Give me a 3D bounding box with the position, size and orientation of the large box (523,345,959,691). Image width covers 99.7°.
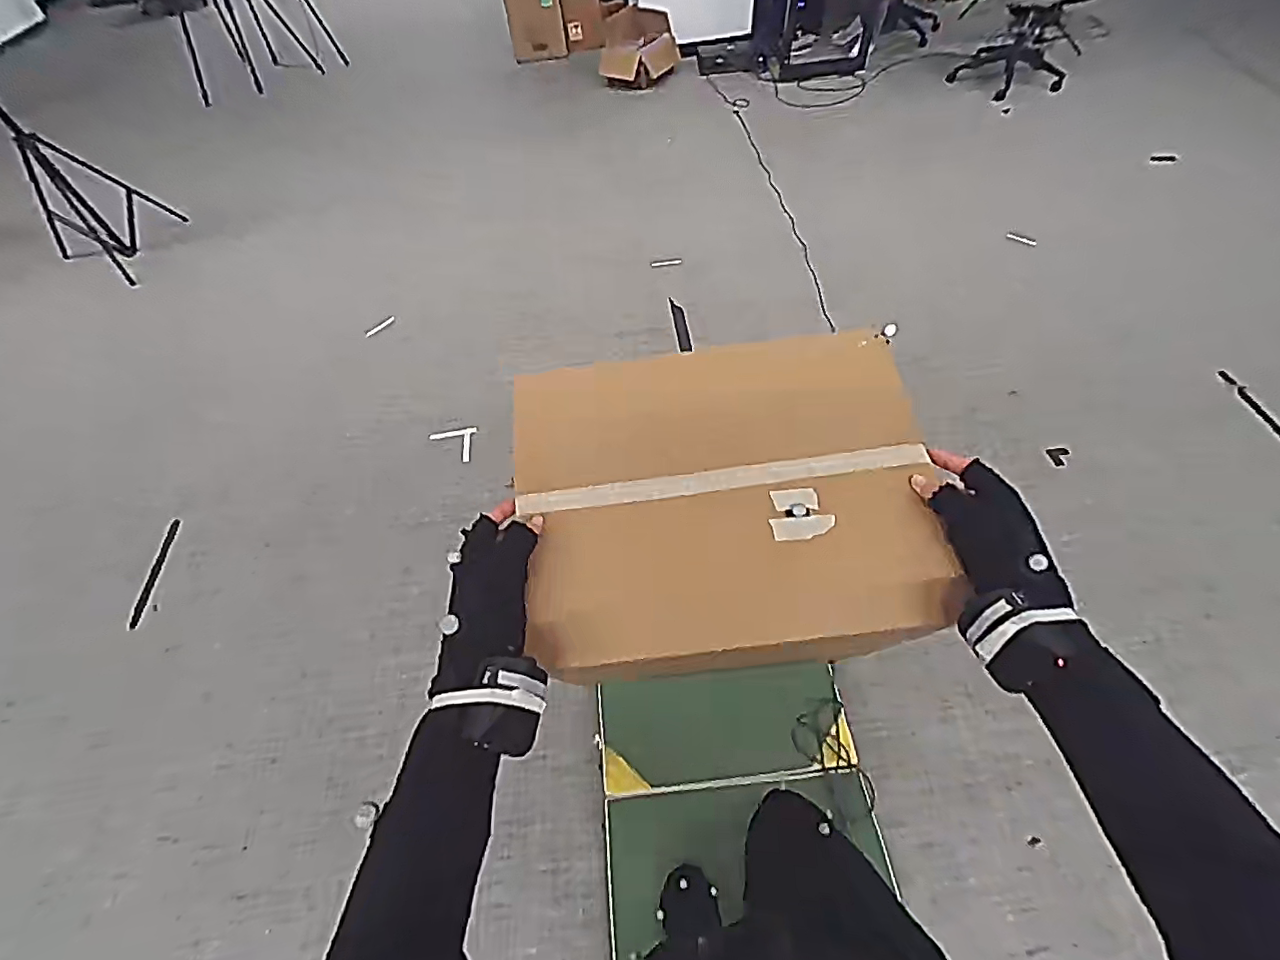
[{"bbox_3d":[0.088,0.071,0.690,0.408,0.320,0.320,-7,66,1],"label":"large box"}]
